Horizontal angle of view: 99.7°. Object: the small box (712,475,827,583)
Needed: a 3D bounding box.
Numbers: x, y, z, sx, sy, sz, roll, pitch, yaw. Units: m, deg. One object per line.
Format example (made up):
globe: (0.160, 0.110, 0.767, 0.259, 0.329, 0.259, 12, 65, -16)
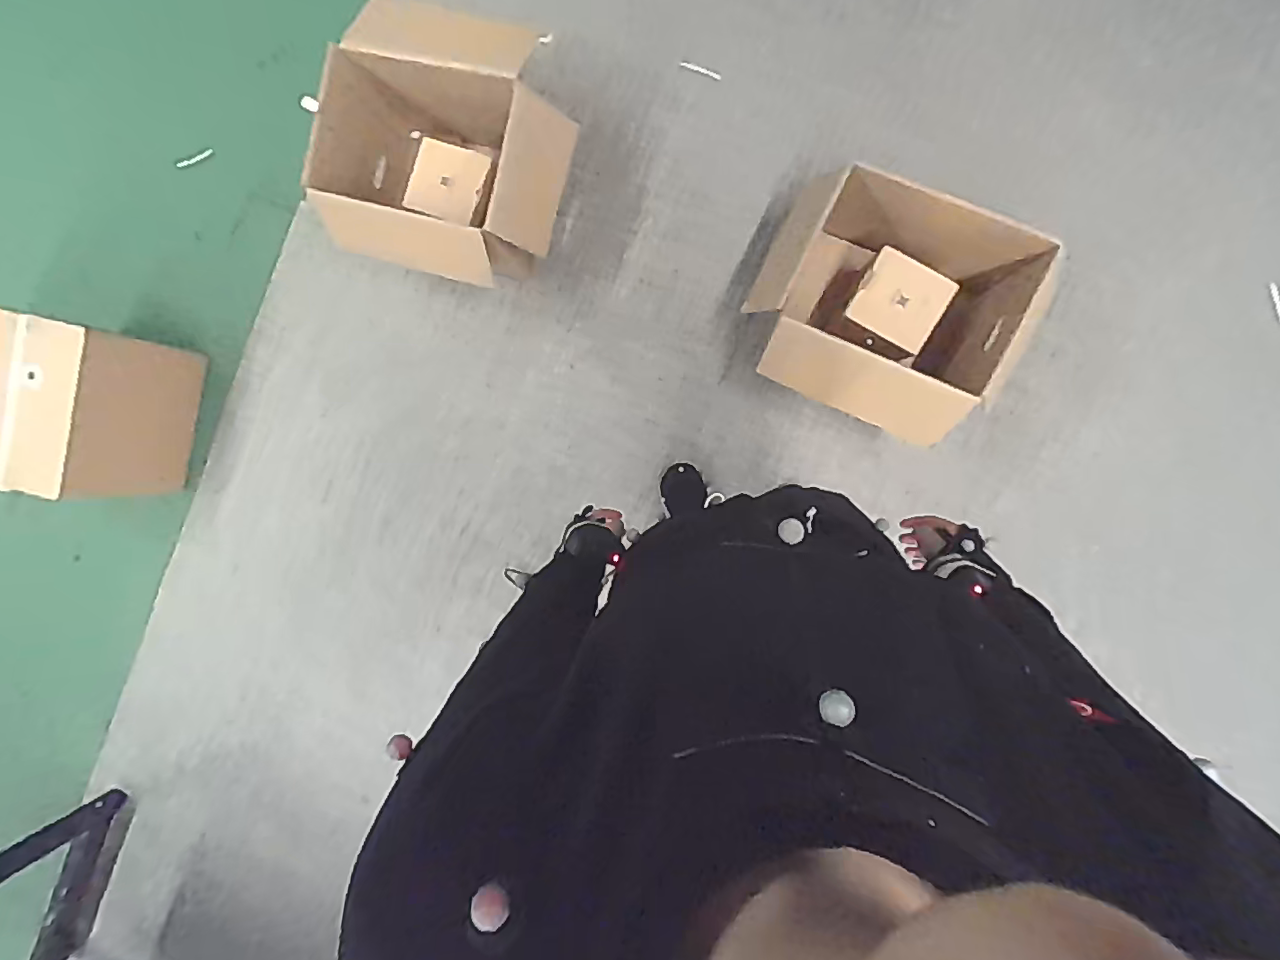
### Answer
small box: (0.296, 0.118, 1.235, 0.176, 0.168, 0.179, -29, 92, 35)
